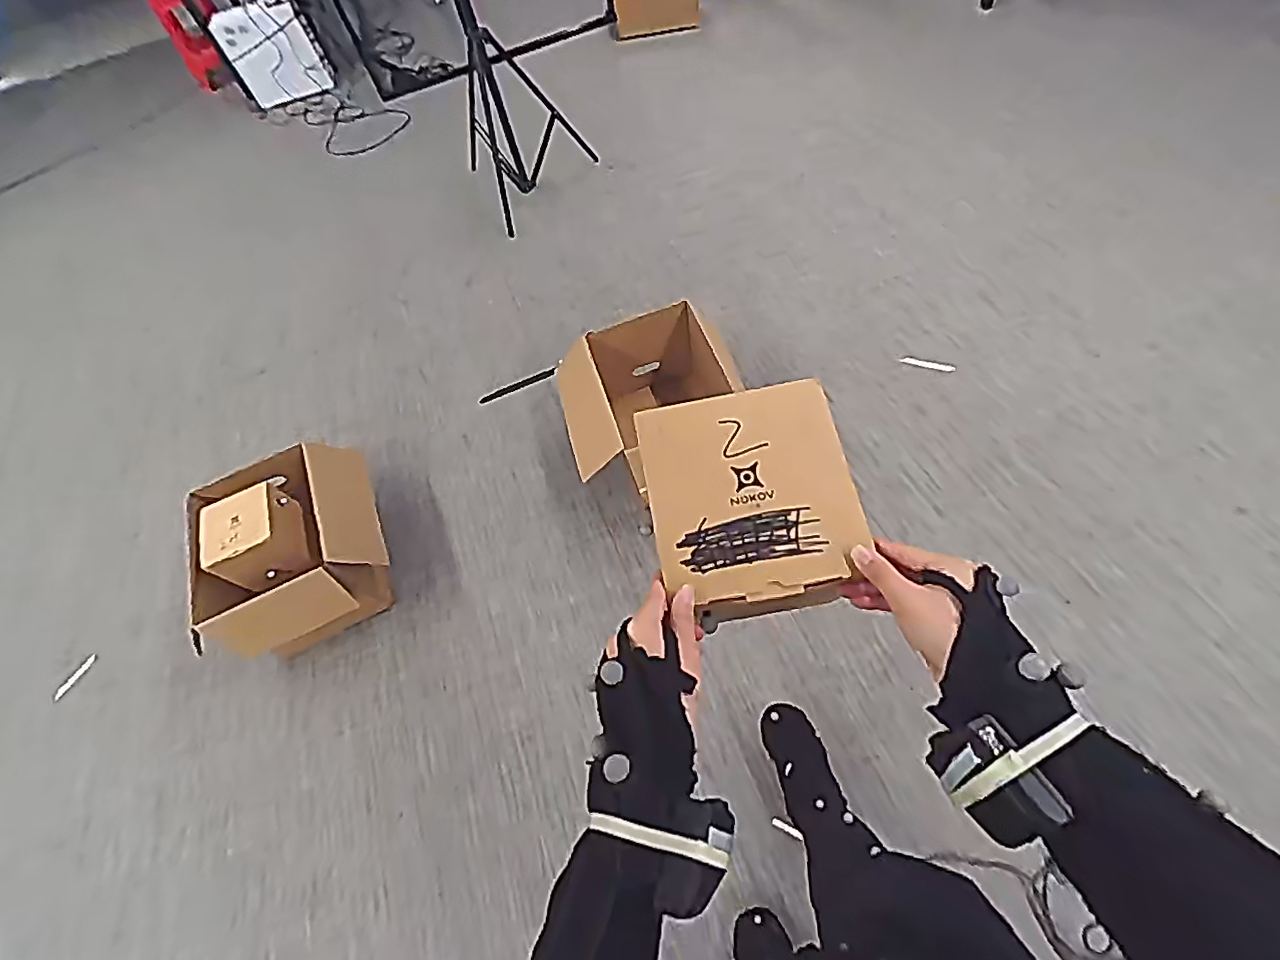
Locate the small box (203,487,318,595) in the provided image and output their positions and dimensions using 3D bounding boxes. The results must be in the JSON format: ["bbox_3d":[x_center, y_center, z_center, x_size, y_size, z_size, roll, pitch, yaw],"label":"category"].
[{"bbox_3d":[-0.935,0.155,1.340,0.168,0.176,0.179,-25,59,-6],"label":"small box"}]
